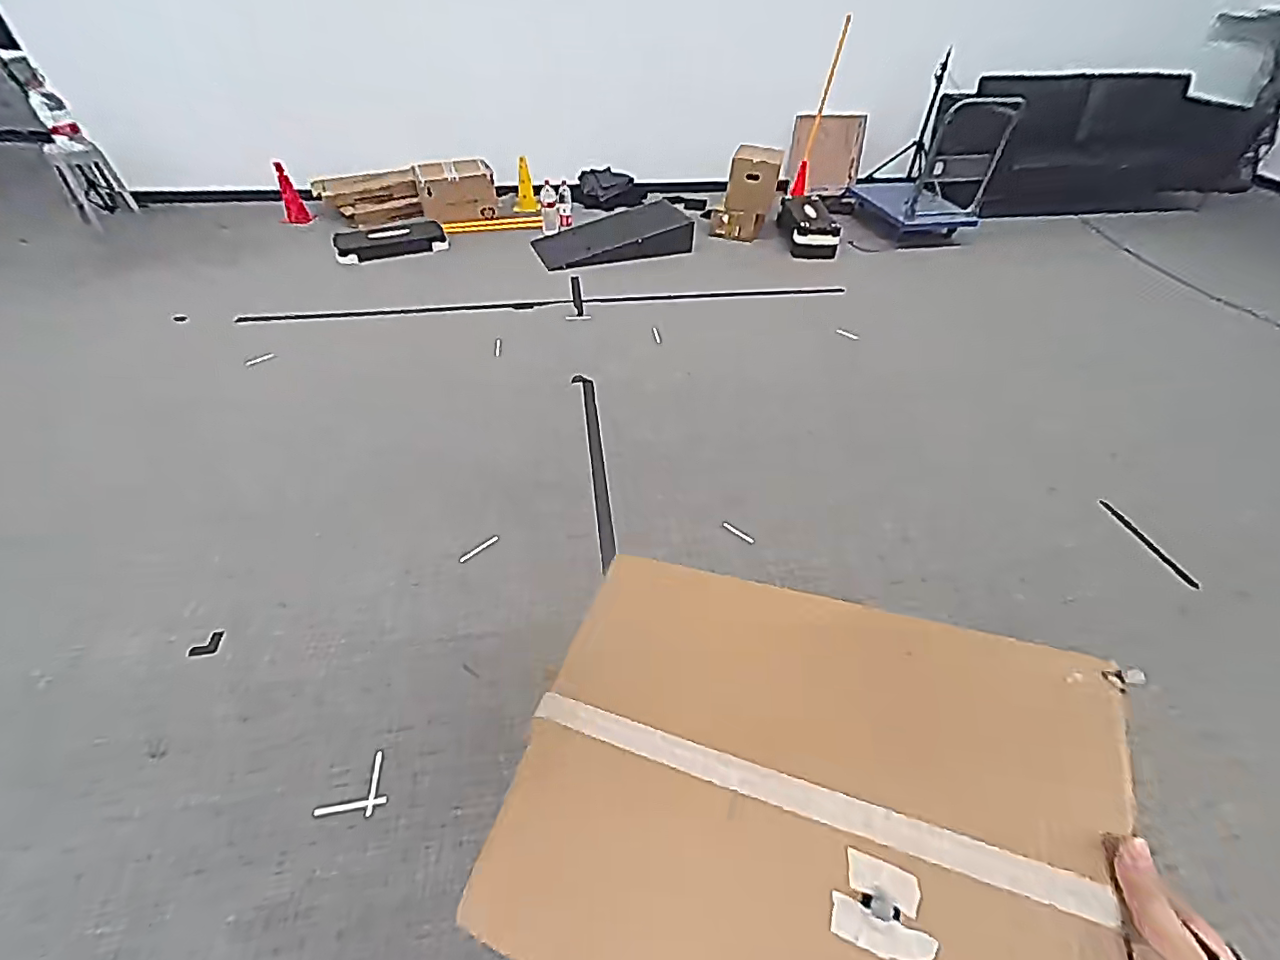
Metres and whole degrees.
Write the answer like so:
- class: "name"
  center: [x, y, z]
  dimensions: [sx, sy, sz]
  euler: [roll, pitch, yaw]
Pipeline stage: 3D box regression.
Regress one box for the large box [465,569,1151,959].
- class: "large box"
  center: [0.137, 0.321, 0.494]
  dimensions: [0.408, 0.320, 0.320]
  euler: [9, 55, 21]
